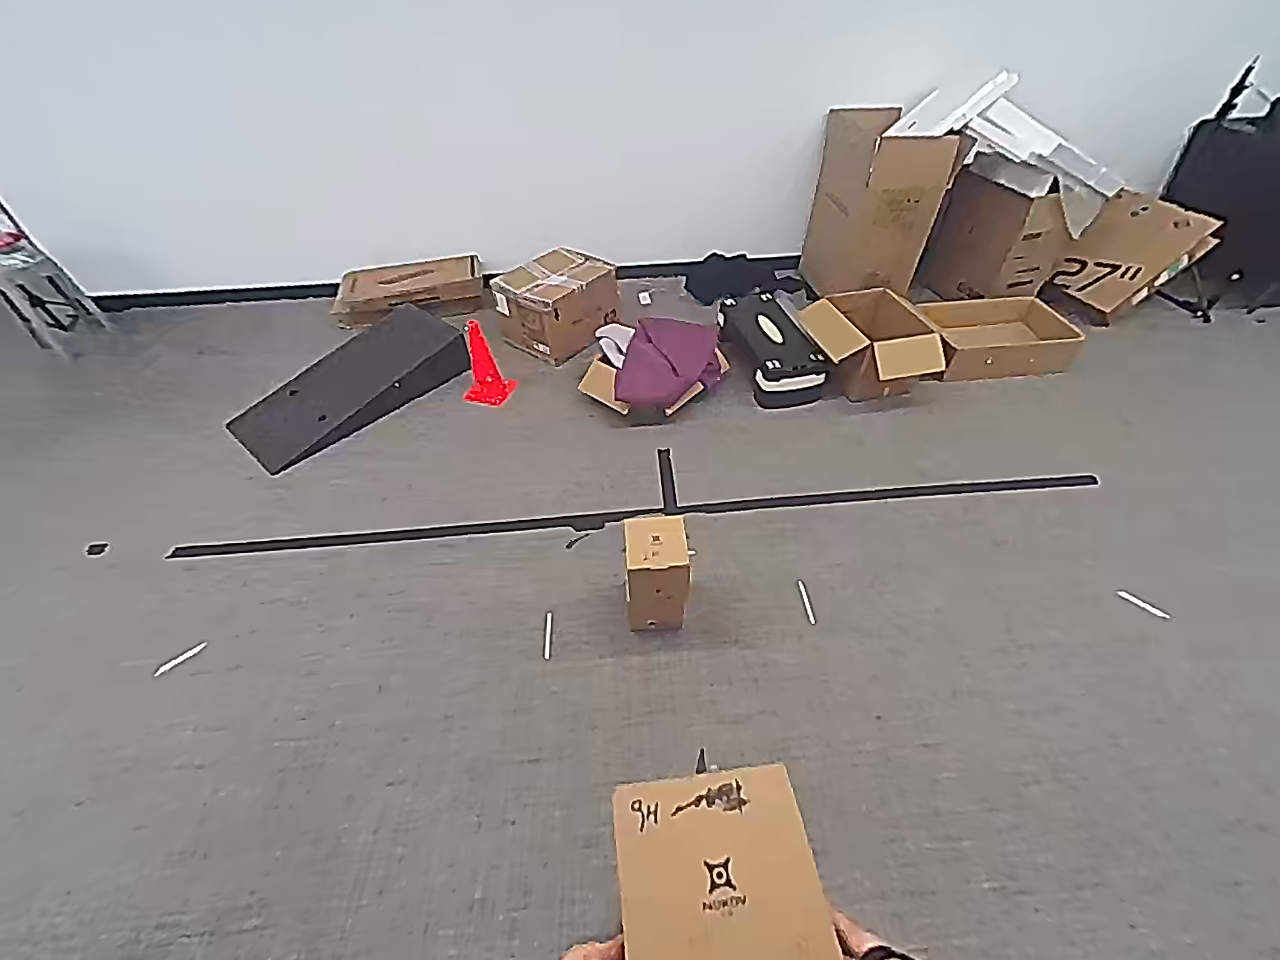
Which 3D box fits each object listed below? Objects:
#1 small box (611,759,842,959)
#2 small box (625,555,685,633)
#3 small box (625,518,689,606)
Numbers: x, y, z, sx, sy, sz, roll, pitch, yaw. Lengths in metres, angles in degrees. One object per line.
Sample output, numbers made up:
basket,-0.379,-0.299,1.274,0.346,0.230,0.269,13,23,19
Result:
small box,0.067,0.385,0.496,0.168,0.176,0.179,-6,45,-5
small box,0.041,0.339,1.628,0.168,0.176,0.179,-5,46,-1
small box,0.044,0.228,1.505,0.168,0.176,0.179,-4,45,-1
